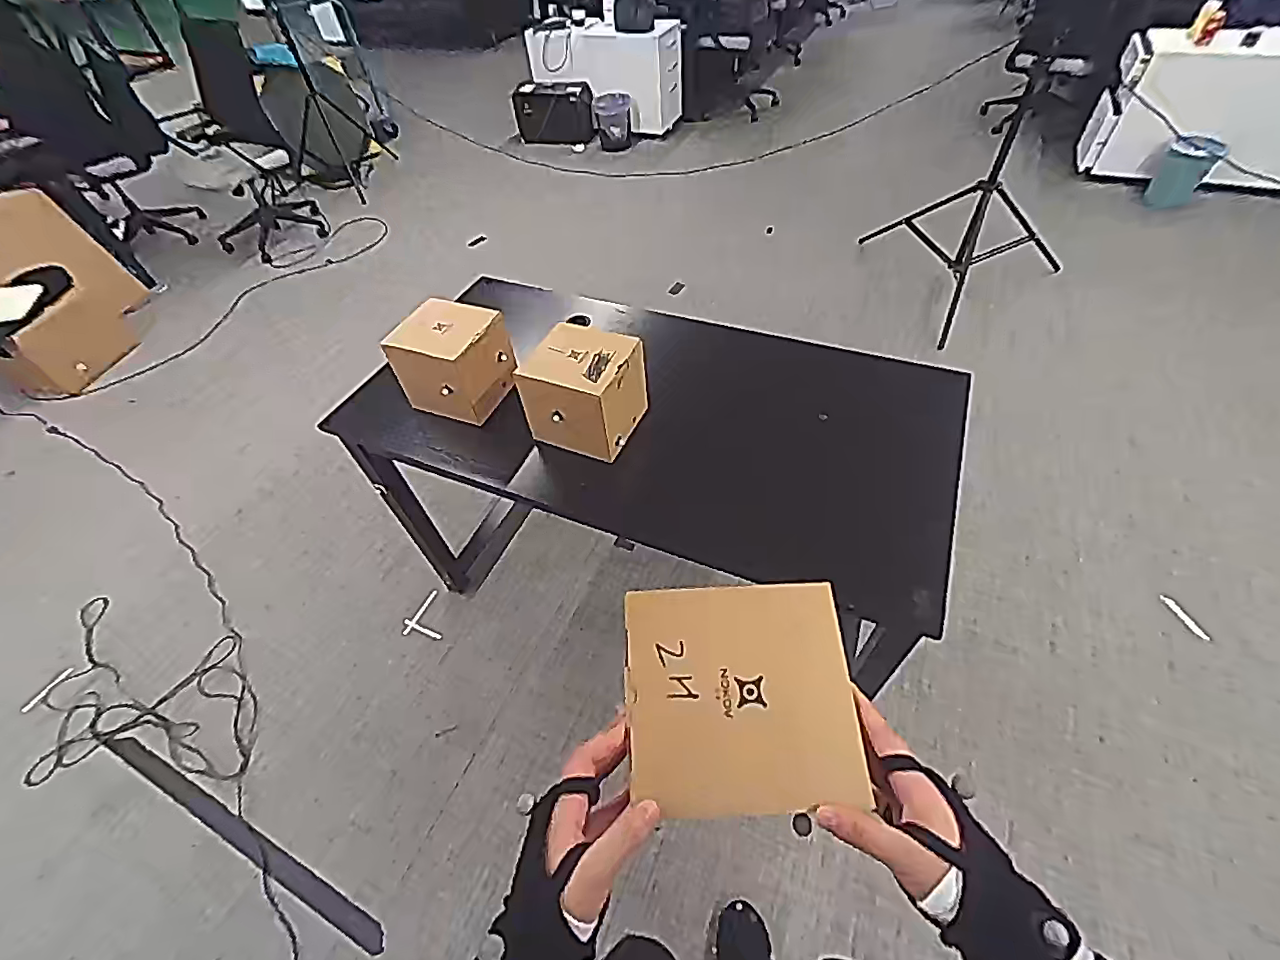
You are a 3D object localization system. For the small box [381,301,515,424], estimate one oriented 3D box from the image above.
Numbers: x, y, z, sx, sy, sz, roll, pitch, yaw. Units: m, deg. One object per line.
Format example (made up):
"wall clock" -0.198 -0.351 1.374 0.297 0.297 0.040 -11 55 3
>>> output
"small box" -0.377 -0.237 1.104 0.179 0.176 0.168 15 53 17

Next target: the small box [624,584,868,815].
"small box" 0.077 0.199 0.493 0.179 0.176 0.168 -3 62 1

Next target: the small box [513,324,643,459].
"small box" -0.105 -0.163 1.016 0.179 0.176 0.168 17 54 19
